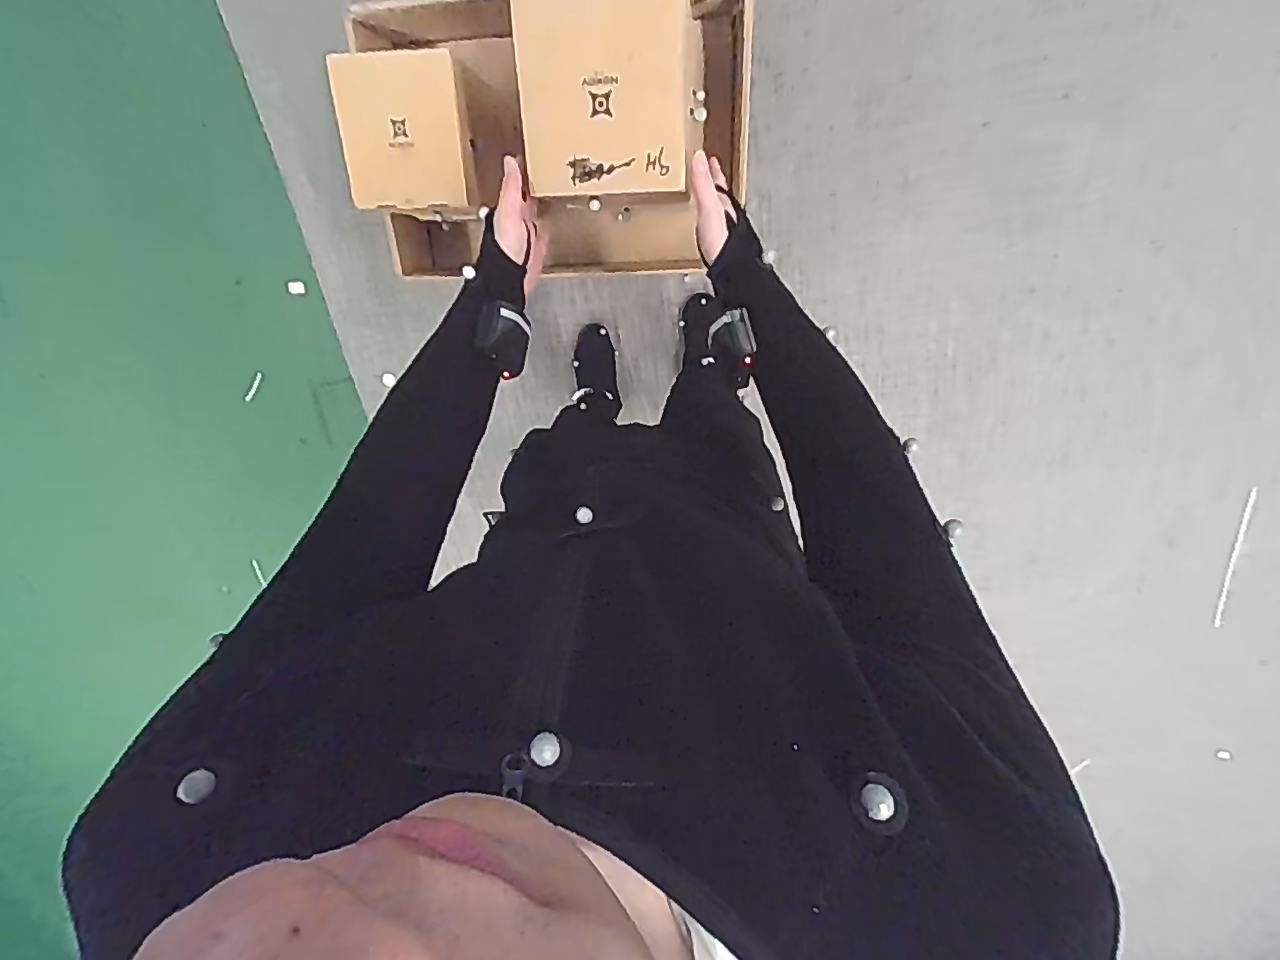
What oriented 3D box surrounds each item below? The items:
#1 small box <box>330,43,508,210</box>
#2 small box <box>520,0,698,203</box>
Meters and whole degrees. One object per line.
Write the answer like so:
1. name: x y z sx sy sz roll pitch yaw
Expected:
1. small box: -0.299 -0.489 0.773 0.168 0.176 0.179 2 114 6
2. small box: -0.023 -0.410 0.595 0.168 0.176 0.179 2 114 7
